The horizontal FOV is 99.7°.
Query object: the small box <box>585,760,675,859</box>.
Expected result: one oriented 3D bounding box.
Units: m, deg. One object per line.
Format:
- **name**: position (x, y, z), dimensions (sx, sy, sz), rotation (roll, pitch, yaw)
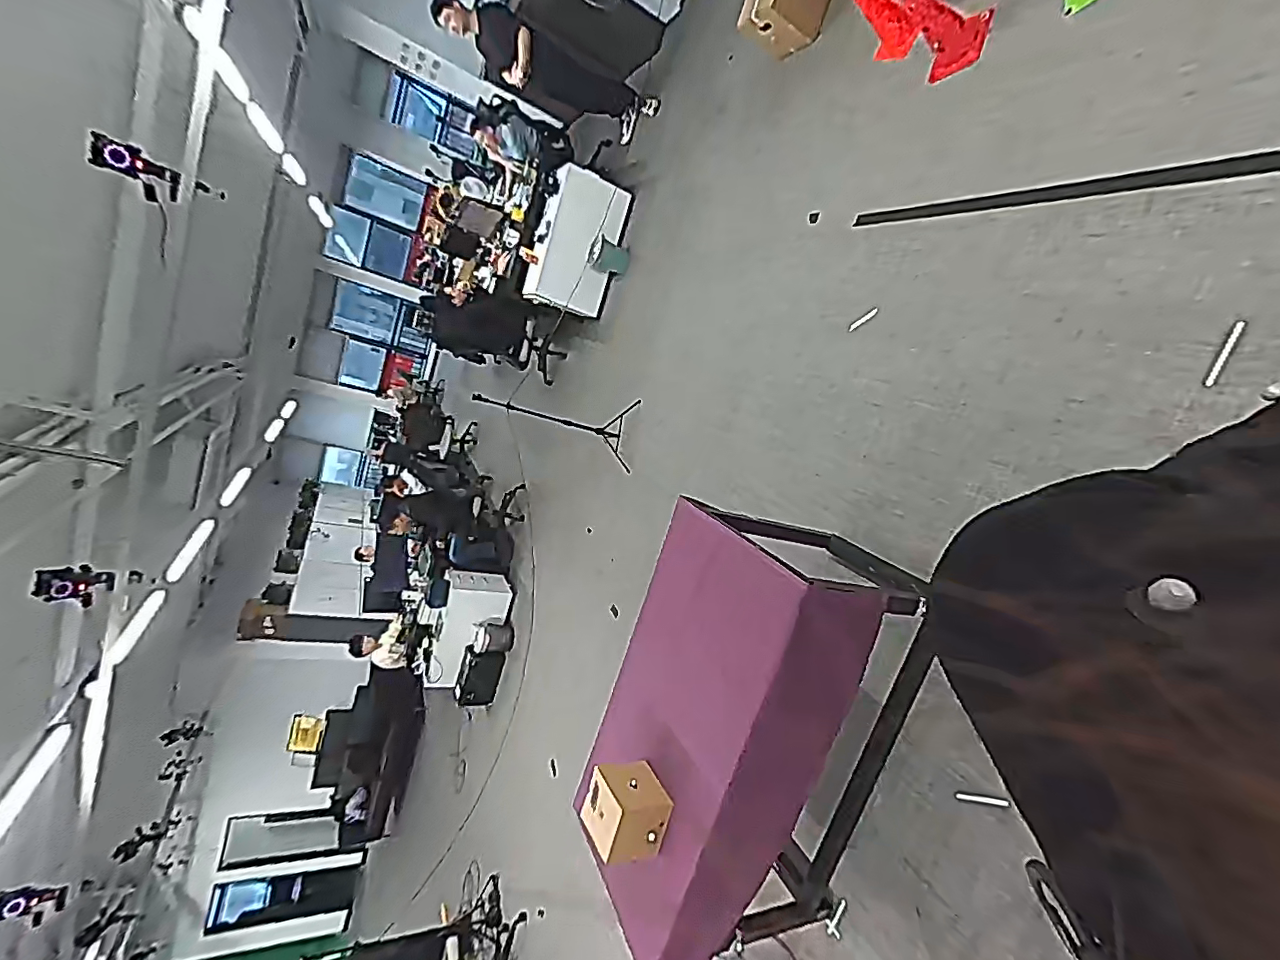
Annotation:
- **small box**: position (-0.029, 0.917, 1.522), dimensions (0.179, 0.176, 0.168), rotation (28, 104, 59)
